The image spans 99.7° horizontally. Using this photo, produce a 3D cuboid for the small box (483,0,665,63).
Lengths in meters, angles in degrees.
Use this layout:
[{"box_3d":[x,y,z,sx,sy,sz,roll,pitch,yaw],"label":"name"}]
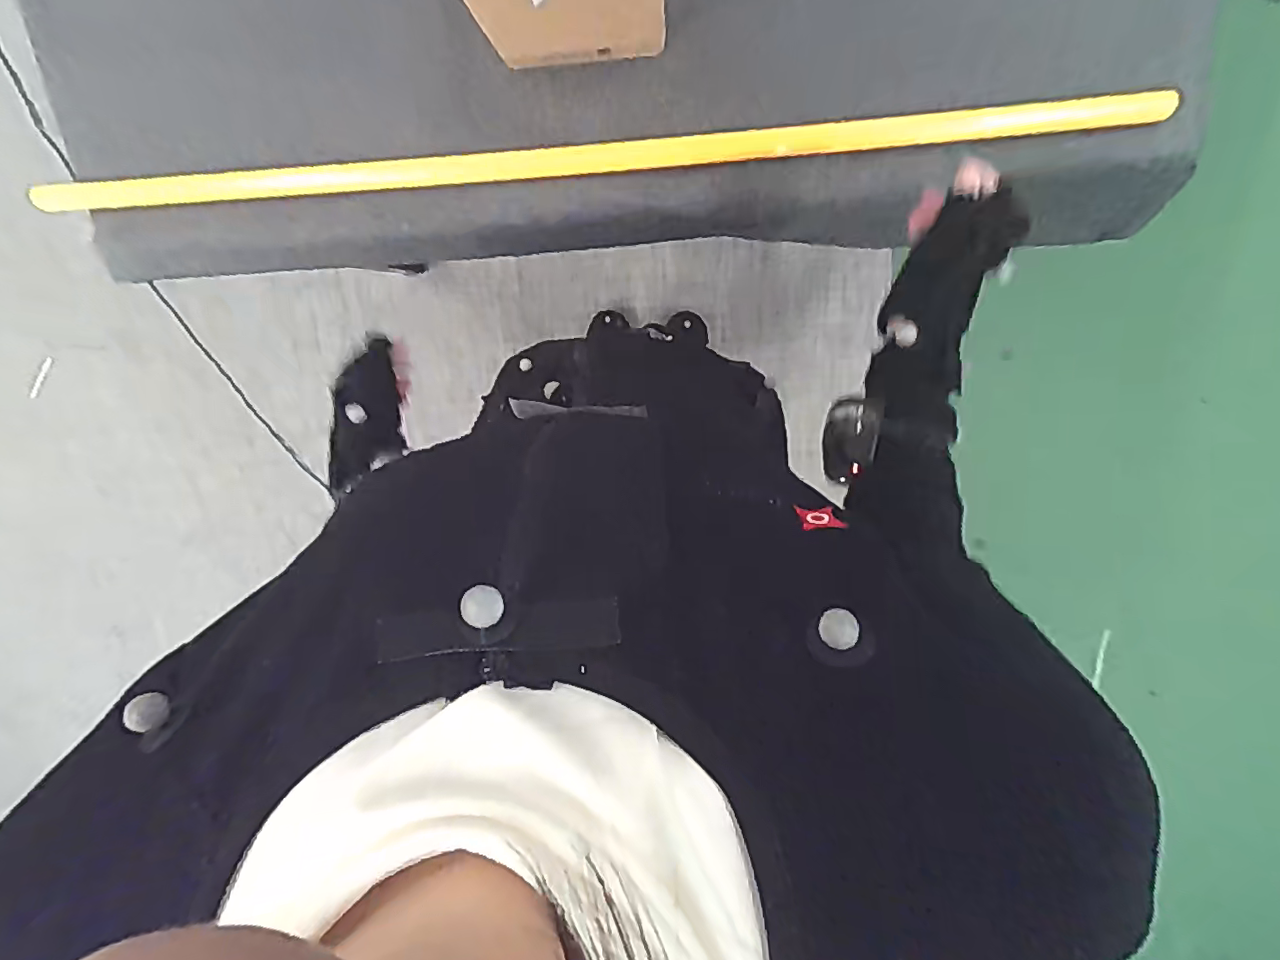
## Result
[{"box_3d":[-0.065,-0.500,0.460,0.168,0.176,0.179,-2,107,5],"label":"small box"}]
